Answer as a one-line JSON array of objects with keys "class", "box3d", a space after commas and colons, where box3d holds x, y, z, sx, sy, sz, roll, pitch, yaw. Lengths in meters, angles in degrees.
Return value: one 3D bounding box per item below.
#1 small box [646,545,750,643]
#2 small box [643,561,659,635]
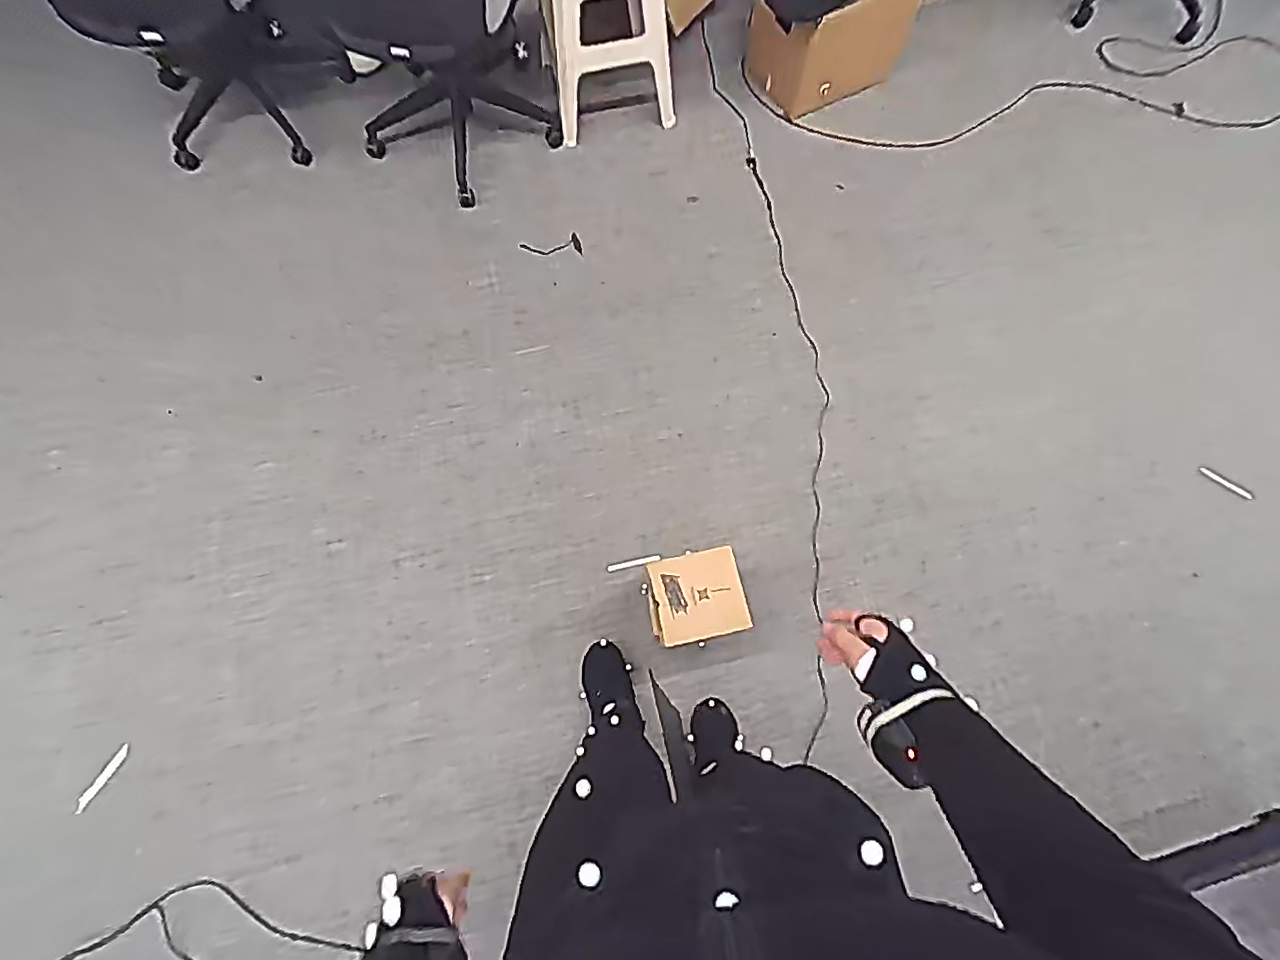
[{"class": "small box", "box3d": [0.114, 0.245, 1.136, 0.179, 0.176, 0.168, -12, 75, -4]}, {"class": "small box", "box3d": [0.105, 0.277, 1.299, 0.179, 0.176, 0.168, -6, 74, -3]}]
